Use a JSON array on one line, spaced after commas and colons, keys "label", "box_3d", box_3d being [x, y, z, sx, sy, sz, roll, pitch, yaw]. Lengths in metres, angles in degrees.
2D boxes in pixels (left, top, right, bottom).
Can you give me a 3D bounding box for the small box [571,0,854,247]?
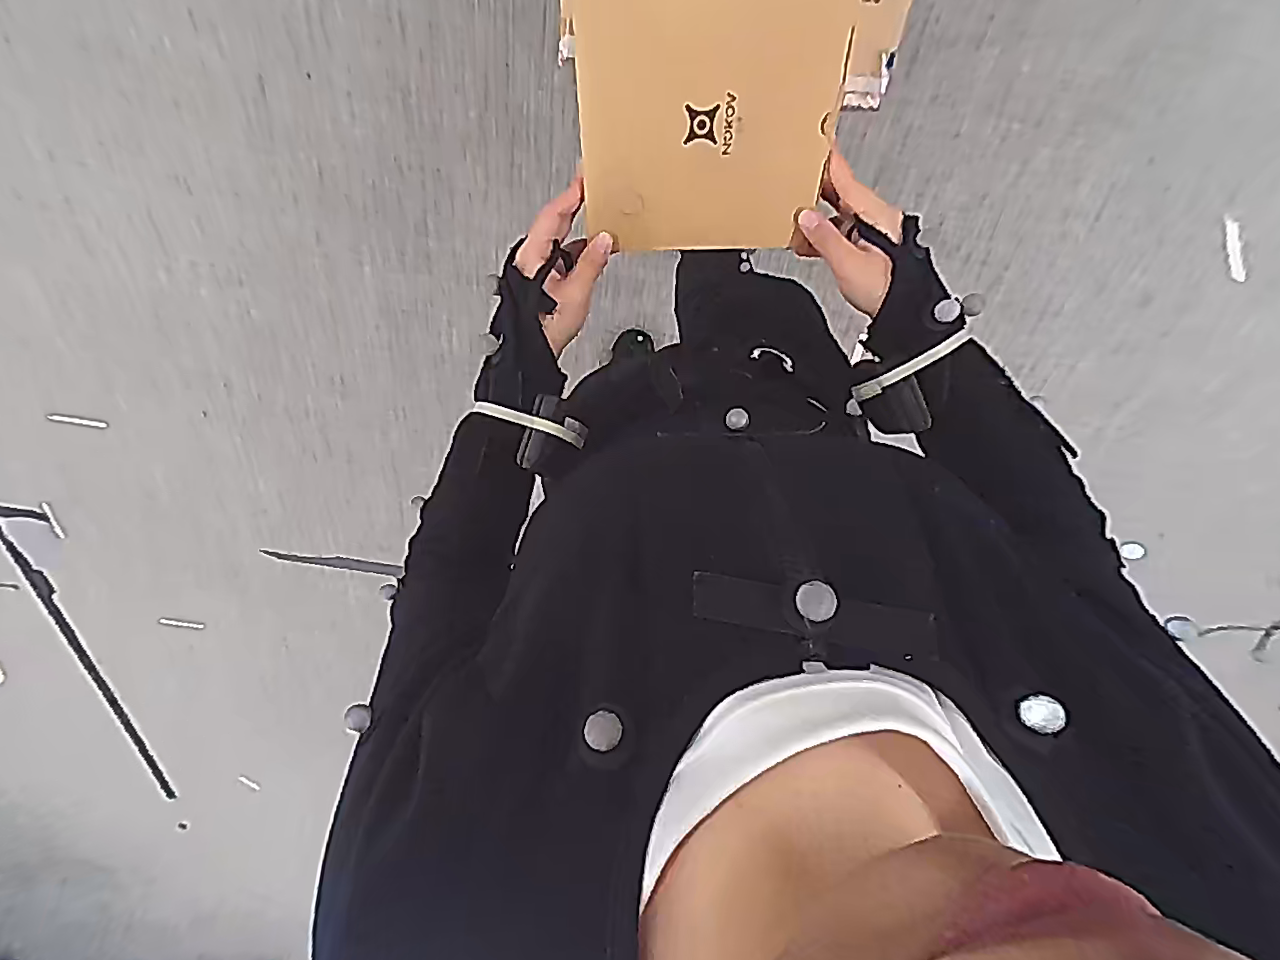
[{"label": "small box", "box_3d": [0.042, -0.301, 0.434, 0.179, 0.176, 0.168, -2, 133, -2]}]
